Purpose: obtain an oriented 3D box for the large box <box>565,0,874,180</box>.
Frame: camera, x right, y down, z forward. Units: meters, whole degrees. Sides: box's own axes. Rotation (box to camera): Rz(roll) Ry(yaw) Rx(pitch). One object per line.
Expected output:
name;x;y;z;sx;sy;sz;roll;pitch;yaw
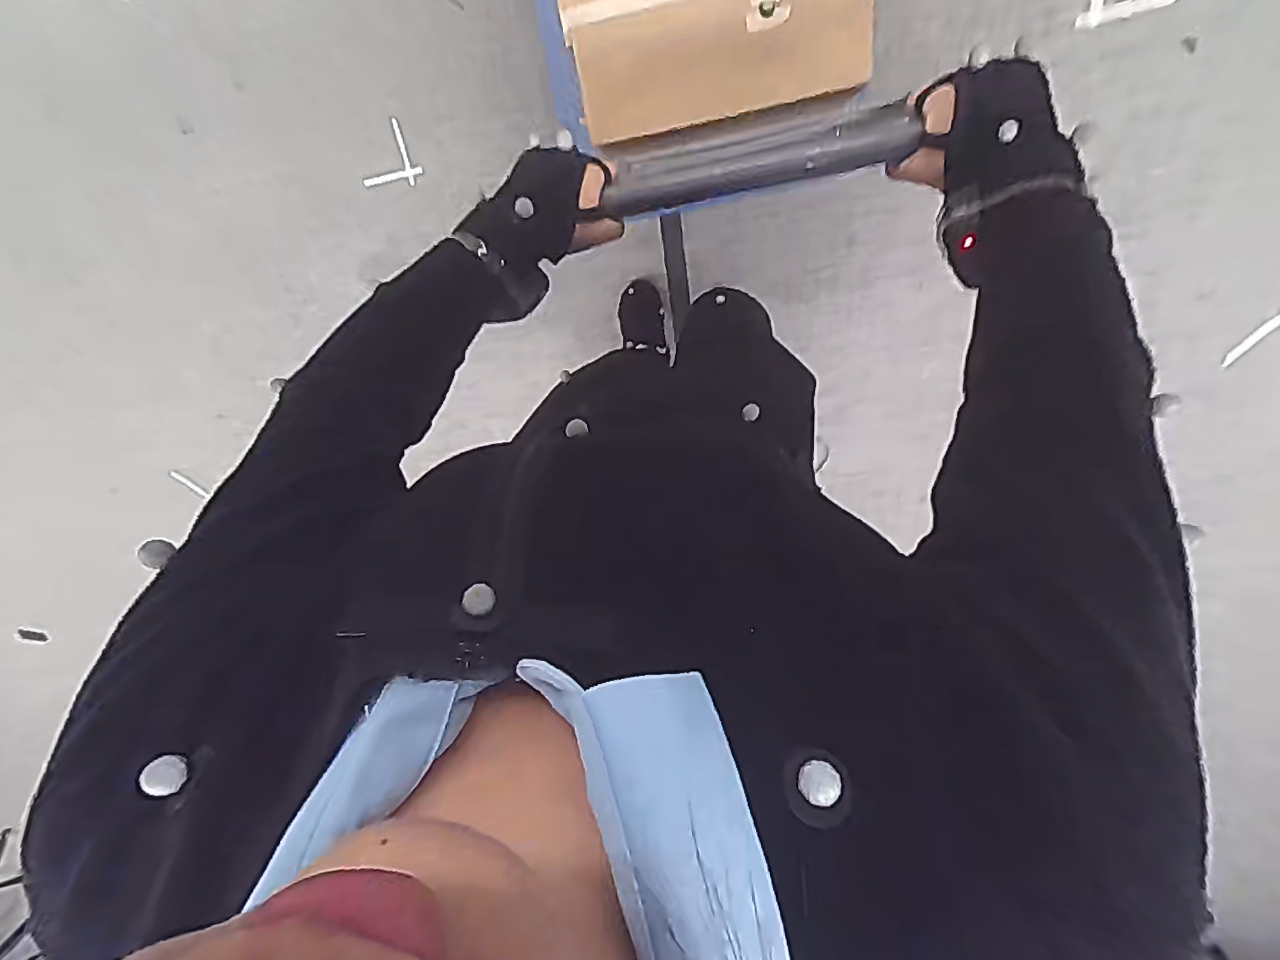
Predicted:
large box;0.110;-0.701;0.851;0.408;0.320;0.320;-8;113;8
